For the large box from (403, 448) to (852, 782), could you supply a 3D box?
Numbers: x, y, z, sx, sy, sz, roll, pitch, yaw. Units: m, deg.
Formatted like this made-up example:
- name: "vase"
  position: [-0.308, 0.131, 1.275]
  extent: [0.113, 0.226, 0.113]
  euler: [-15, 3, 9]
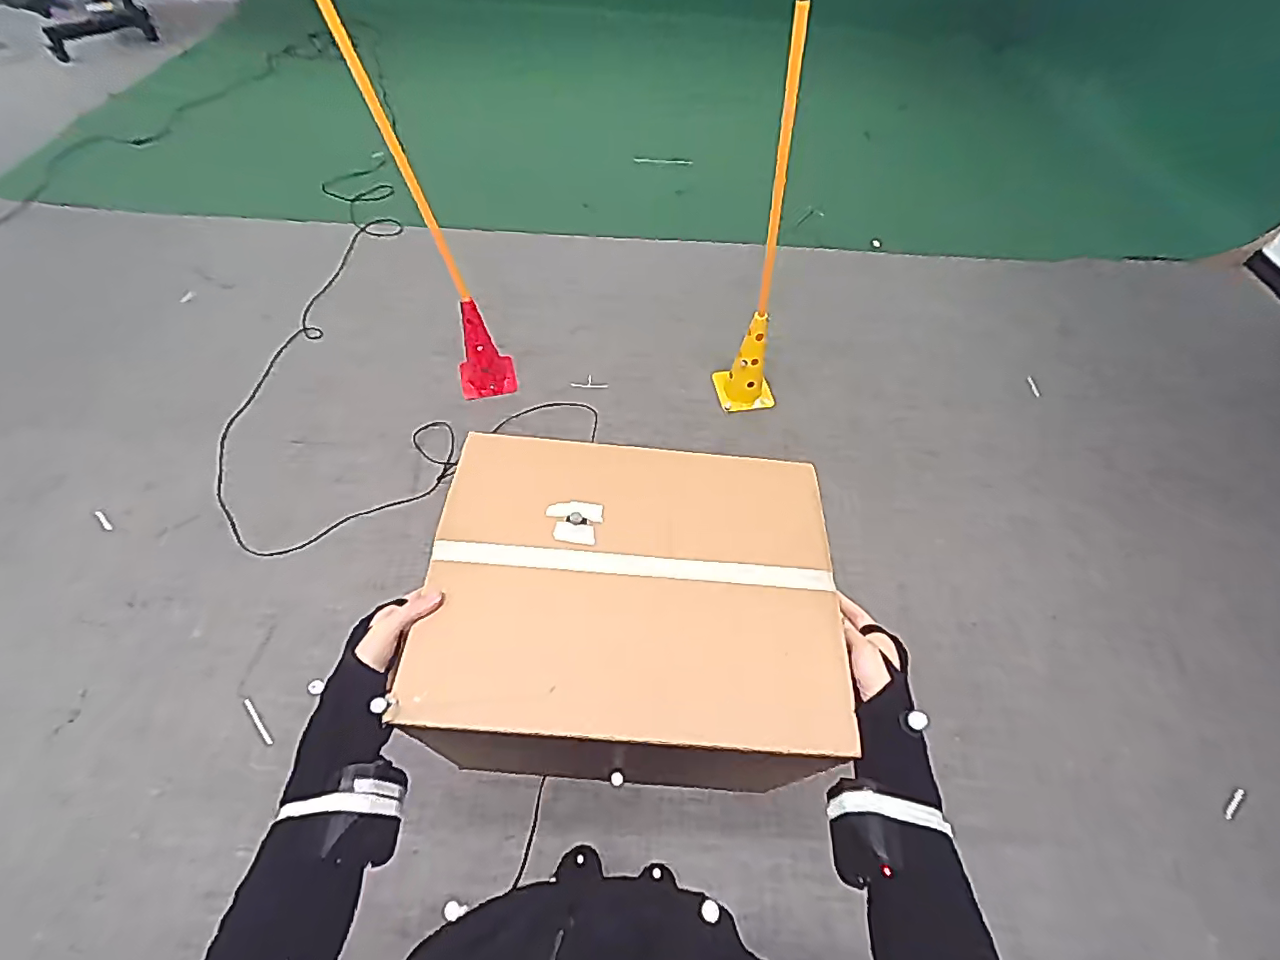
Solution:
- name: "large box"
  position: [-0.009, 0.184, 0.678]
  extent: [0.408, 0.320, 0.320]
  euler: [5, 54, -1]
